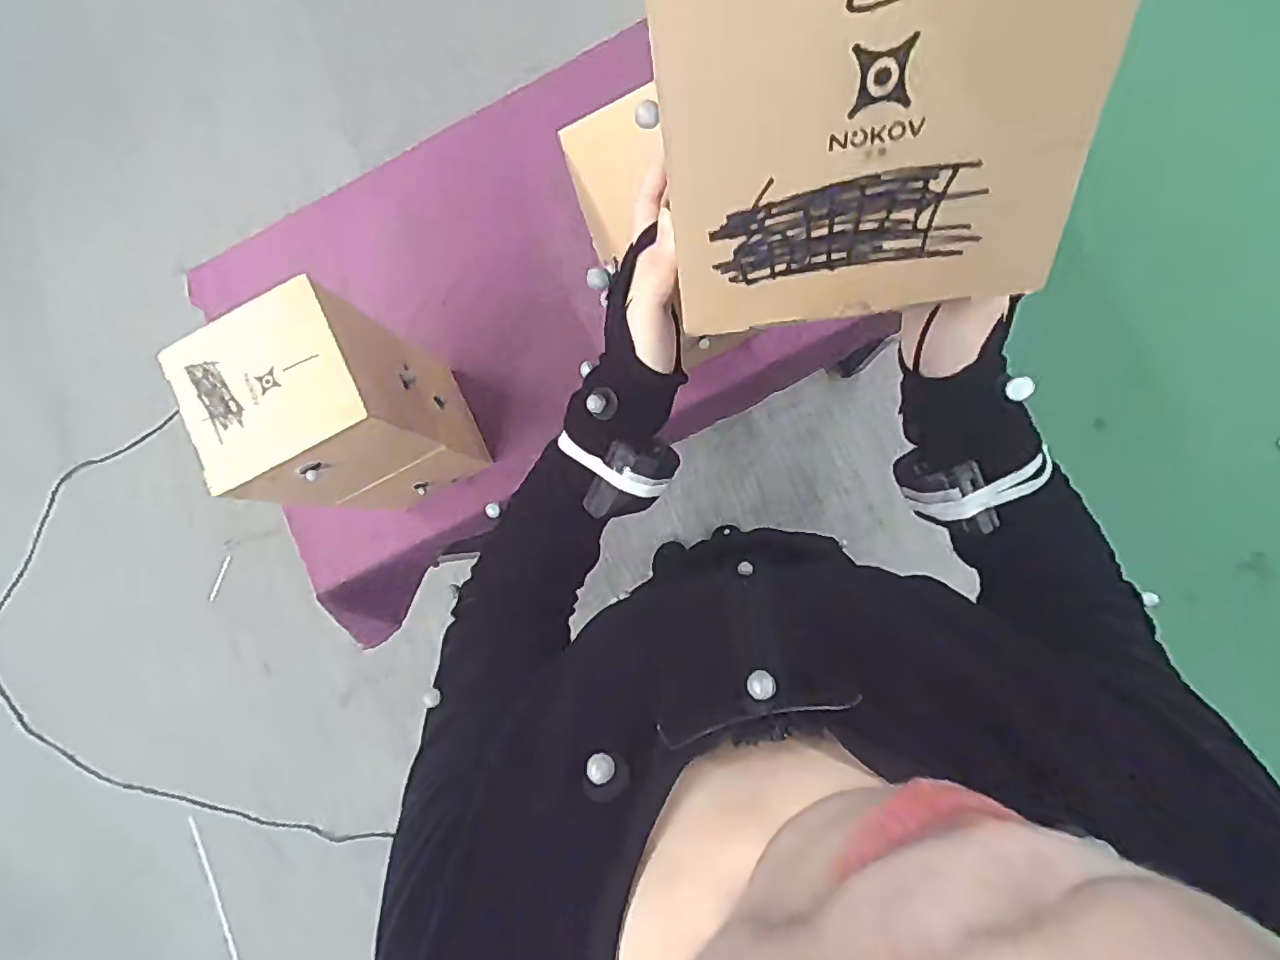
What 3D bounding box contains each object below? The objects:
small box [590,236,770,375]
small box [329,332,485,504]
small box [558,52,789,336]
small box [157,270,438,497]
[{"bbox_3d":[0.058,-0.268,0.743,0.179,0.176,0.168,-28,83,4],"label":"small box"},{"bbox_3d":[-0.347,-0.075,0.767,0.168,0.176,0.179,-27,82,2],"label":"small box"},{"bbox_3d":[0.034,-0.288,0.583,0.168,0.176,0.179,-26,83,3],"label":"small box"},{"bbox_3d":[-0.364,-0.090,0.604,0.179,0.176,0.168,-27,83,2],"label":"small box"}]
